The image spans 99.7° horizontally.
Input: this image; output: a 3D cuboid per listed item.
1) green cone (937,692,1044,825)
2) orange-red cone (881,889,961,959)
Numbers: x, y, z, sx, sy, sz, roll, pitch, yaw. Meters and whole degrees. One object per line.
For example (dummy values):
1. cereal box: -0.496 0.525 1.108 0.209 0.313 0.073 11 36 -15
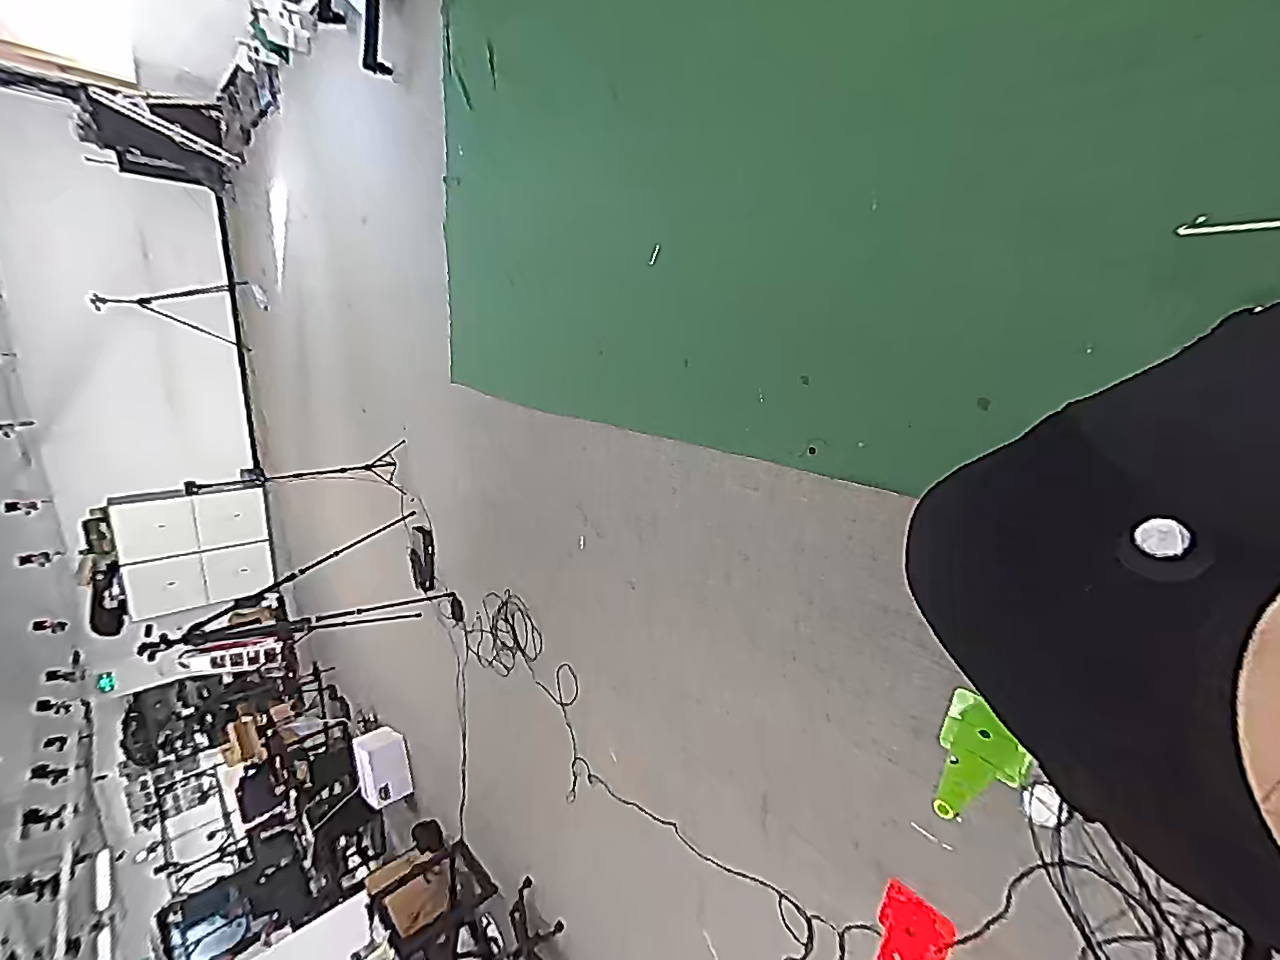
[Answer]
1. green cone: 0.806 0.713 1.317 0.200 0.368 0.202 21 114 43
2. orange-red cone: 0.736 1.407 1.539 0.198 0.360 0.199 23 113 41
